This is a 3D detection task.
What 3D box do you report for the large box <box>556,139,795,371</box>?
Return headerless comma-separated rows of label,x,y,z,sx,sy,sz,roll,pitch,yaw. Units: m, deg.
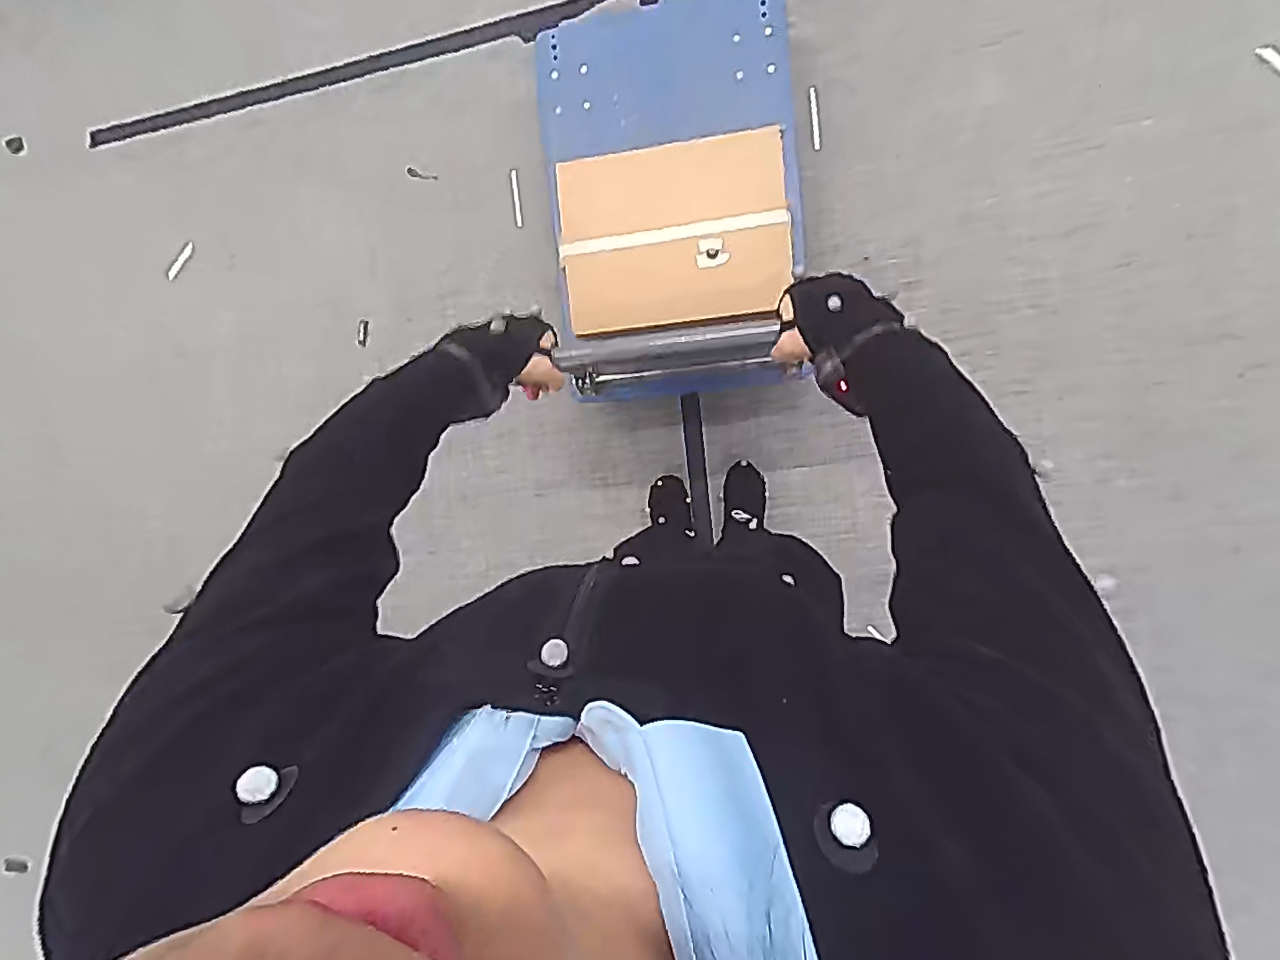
large box,0.074,-0.421,1.103,0.408,0.320,0.320,-5,93,7
